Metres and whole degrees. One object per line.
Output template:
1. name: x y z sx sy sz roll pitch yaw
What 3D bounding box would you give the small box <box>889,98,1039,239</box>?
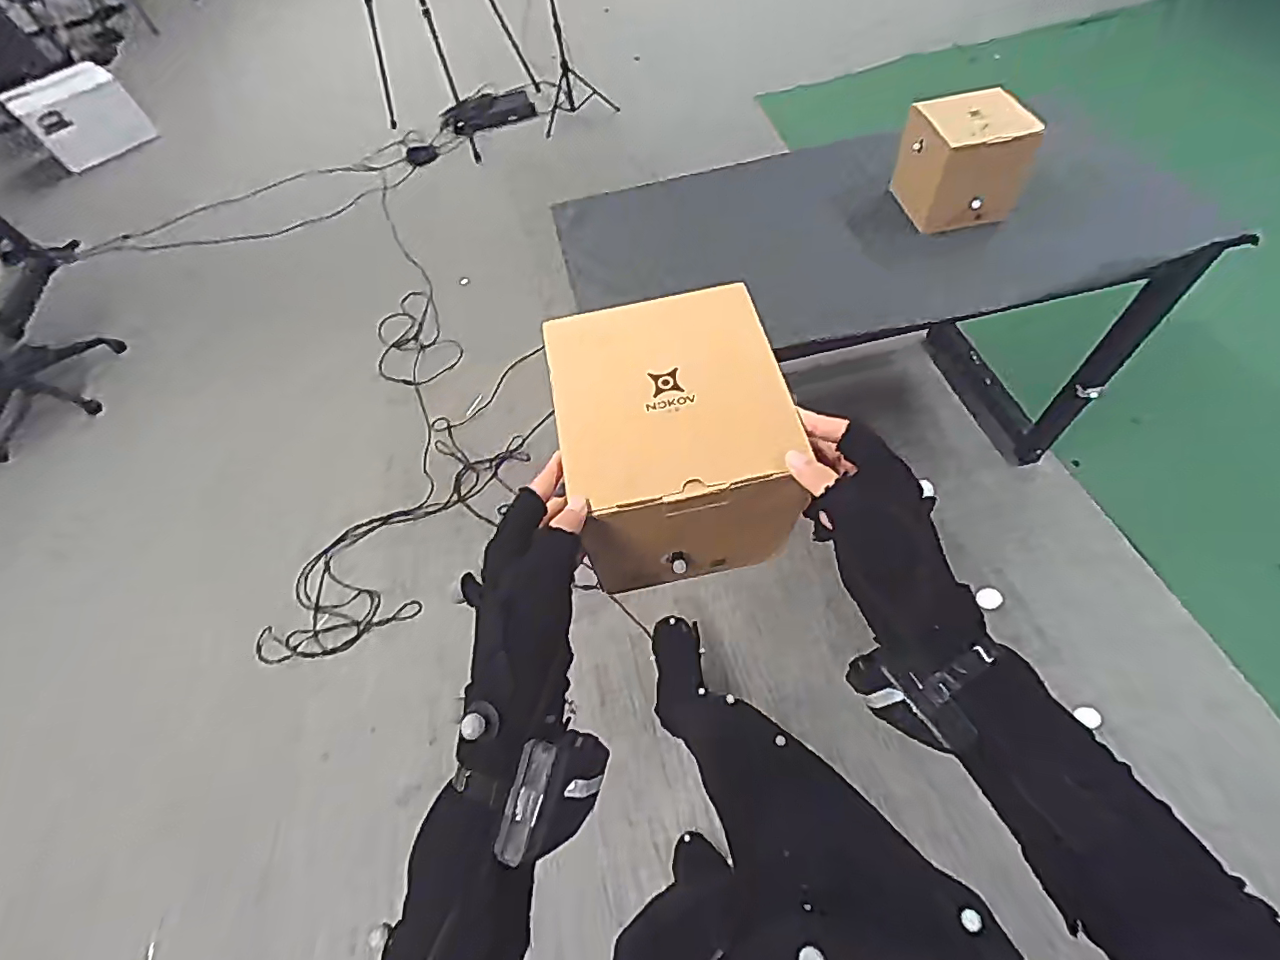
1. small box: 0.612 -0.602 1.052 0.168 0.176 0.179 -10 57 2

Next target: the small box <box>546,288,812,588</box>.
1. small box: 0.024 -0.028 0.463 0.168 0.176 0.179 -12 62 -1
